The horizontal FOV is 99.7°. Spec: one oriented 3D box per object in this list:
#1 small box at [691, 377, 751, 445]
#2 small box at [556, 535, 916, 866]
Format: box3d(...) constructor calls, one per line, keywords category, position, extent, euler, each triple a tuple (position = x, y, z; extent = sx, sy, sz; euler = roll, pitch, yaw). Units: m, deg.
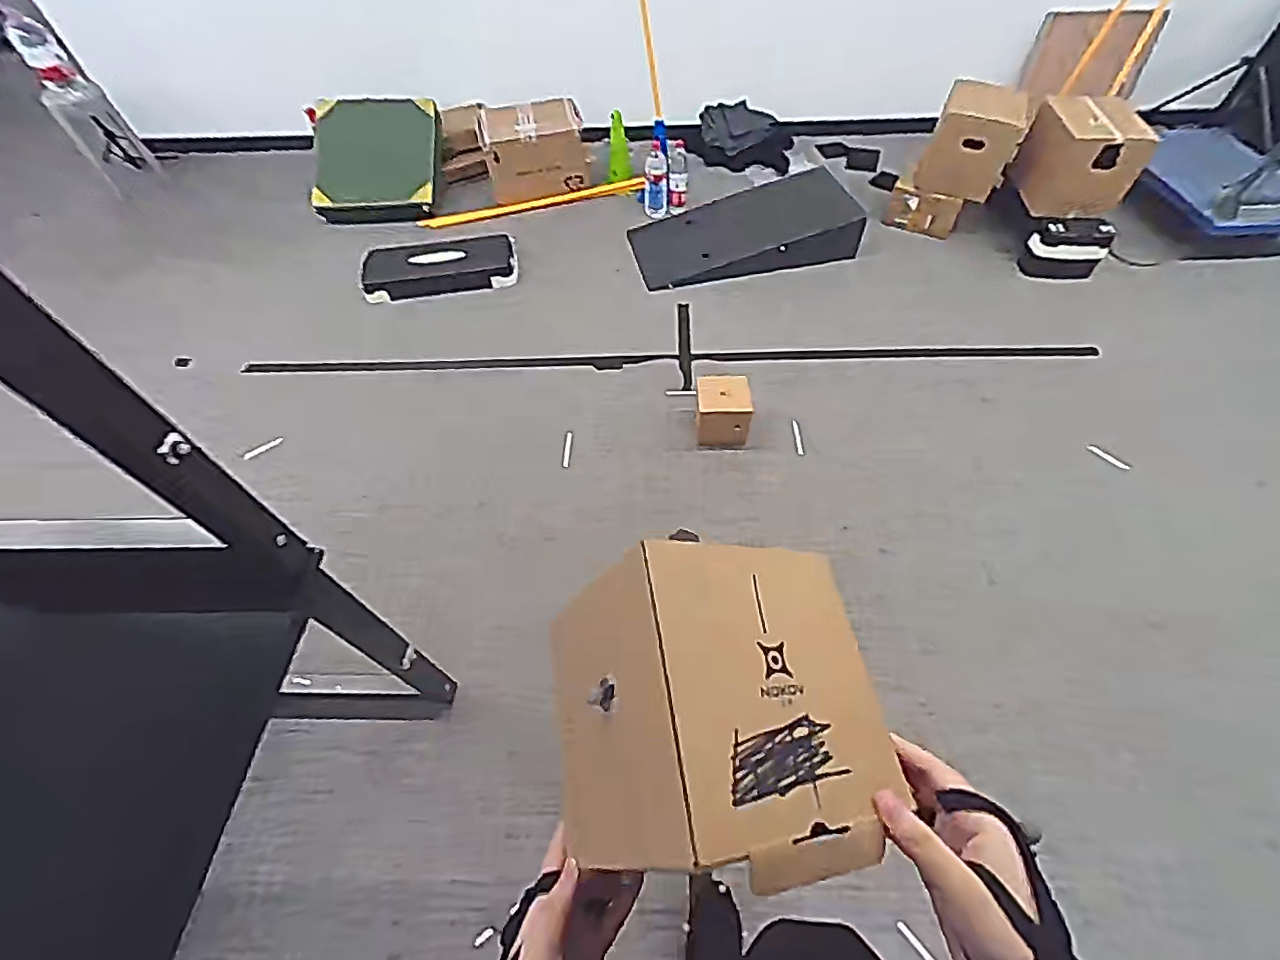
box3d(category="small box", position=(0.271, -0.232, 1.845), extent=(0.179, 0.176, 0.168), euler=(-1, 54, 1))
box3d(category="small box", position=(0.047, 0.161, 0.390), extent=(0.168, 0.176, 0.179), euler=(9, 53, -28))
